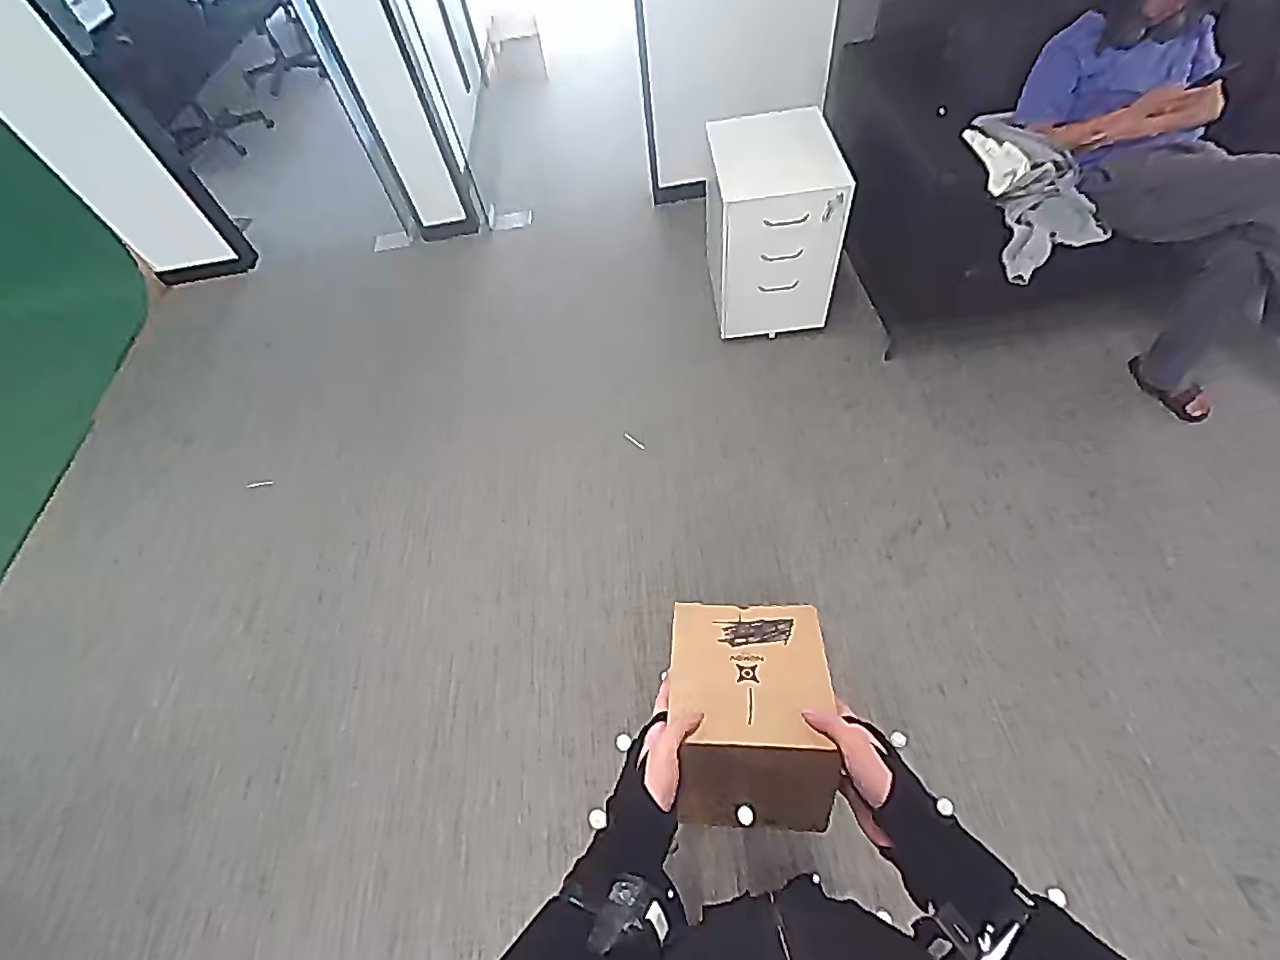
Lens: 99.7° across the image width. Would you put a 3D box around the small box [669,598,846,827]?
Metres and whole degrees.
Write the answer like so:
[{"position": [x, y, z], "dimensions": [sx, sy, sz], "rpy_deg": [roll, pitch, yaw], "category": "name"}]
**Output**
[{"position": [0.123, 0.257, 0.615], "dimensions": [0.168, 0.176, 0.179], "rpy_deg": [-1, 34, 8], "category": "small box"}]
